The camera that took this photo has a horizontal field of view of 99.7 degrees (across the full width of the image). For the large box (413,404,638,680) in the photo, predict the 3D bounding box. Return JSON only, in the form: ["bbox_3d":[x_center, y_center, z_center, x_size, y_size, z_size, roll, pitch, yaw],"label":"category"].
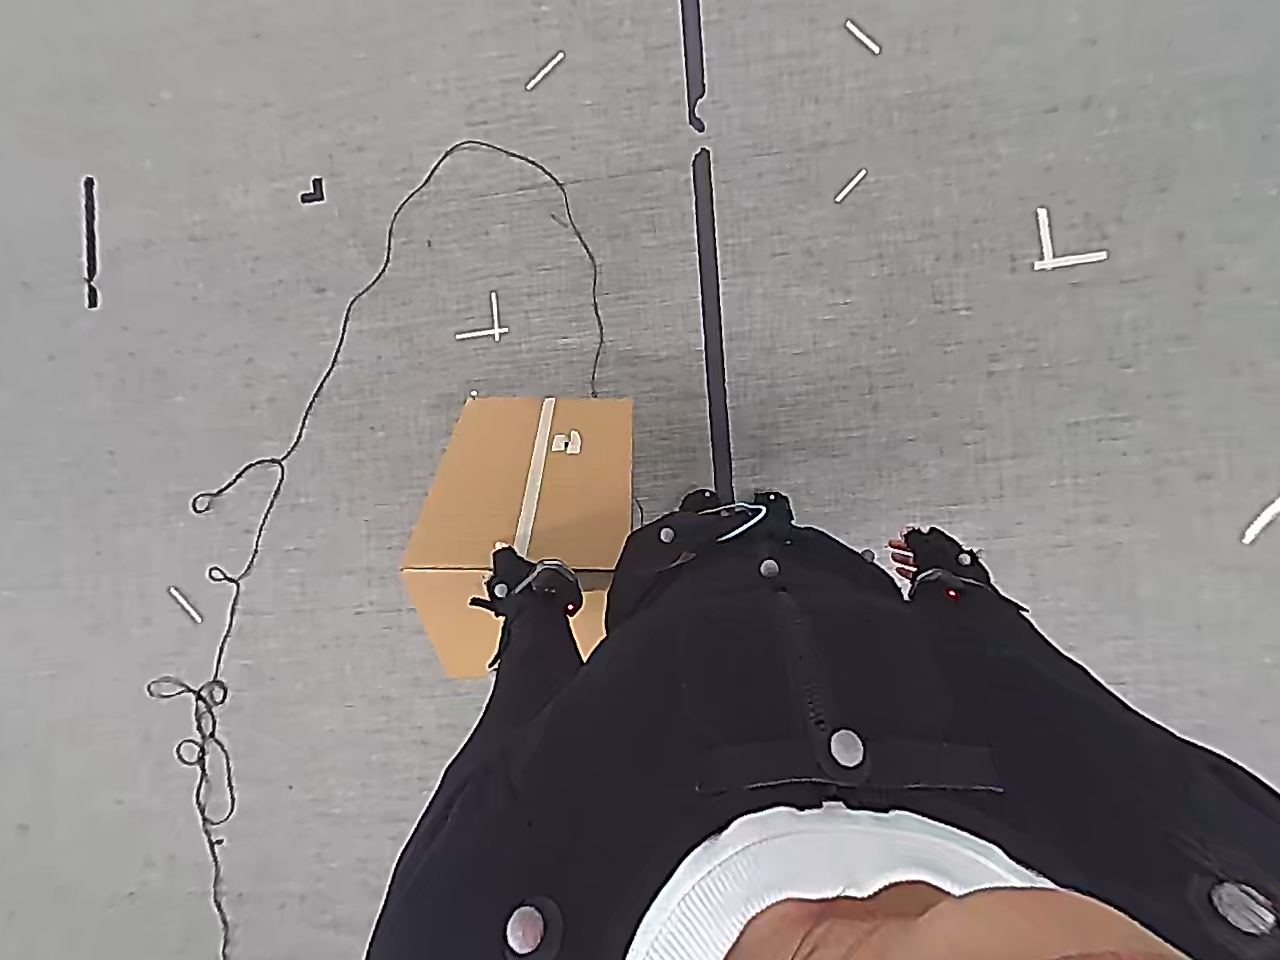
[{"bbox_3d":[-0.167,0.105,0.982,0.320,0.408,0.320,2,132,-2],"label":"large box"}]
